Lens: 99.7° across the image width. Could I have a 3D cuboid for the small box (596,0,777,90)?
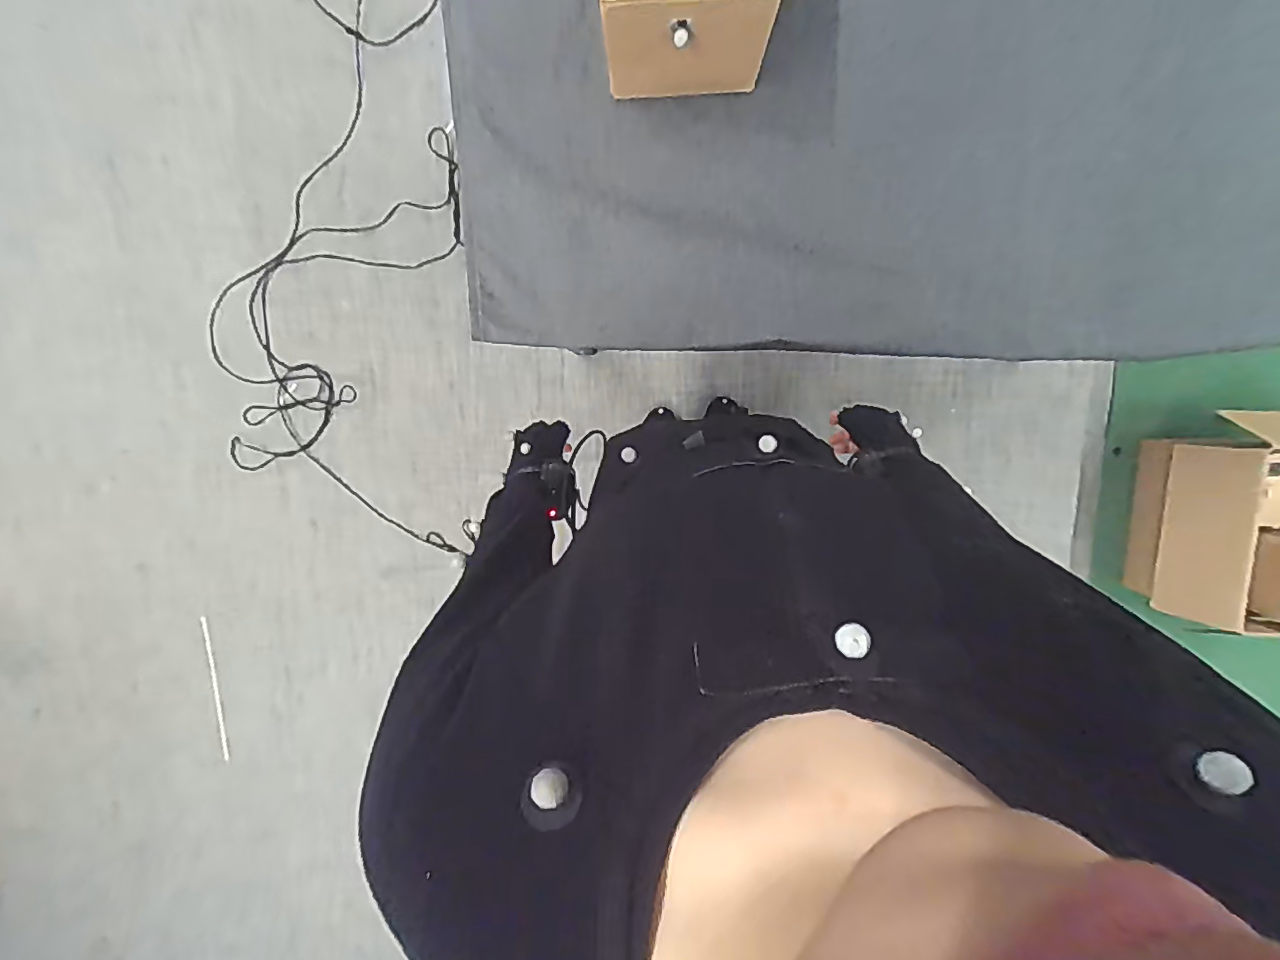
[{"bbox_3d":[0.047,-0.547,0.571,0.179,0.176,0.168,-1,99,3],"label":"small box"}]
